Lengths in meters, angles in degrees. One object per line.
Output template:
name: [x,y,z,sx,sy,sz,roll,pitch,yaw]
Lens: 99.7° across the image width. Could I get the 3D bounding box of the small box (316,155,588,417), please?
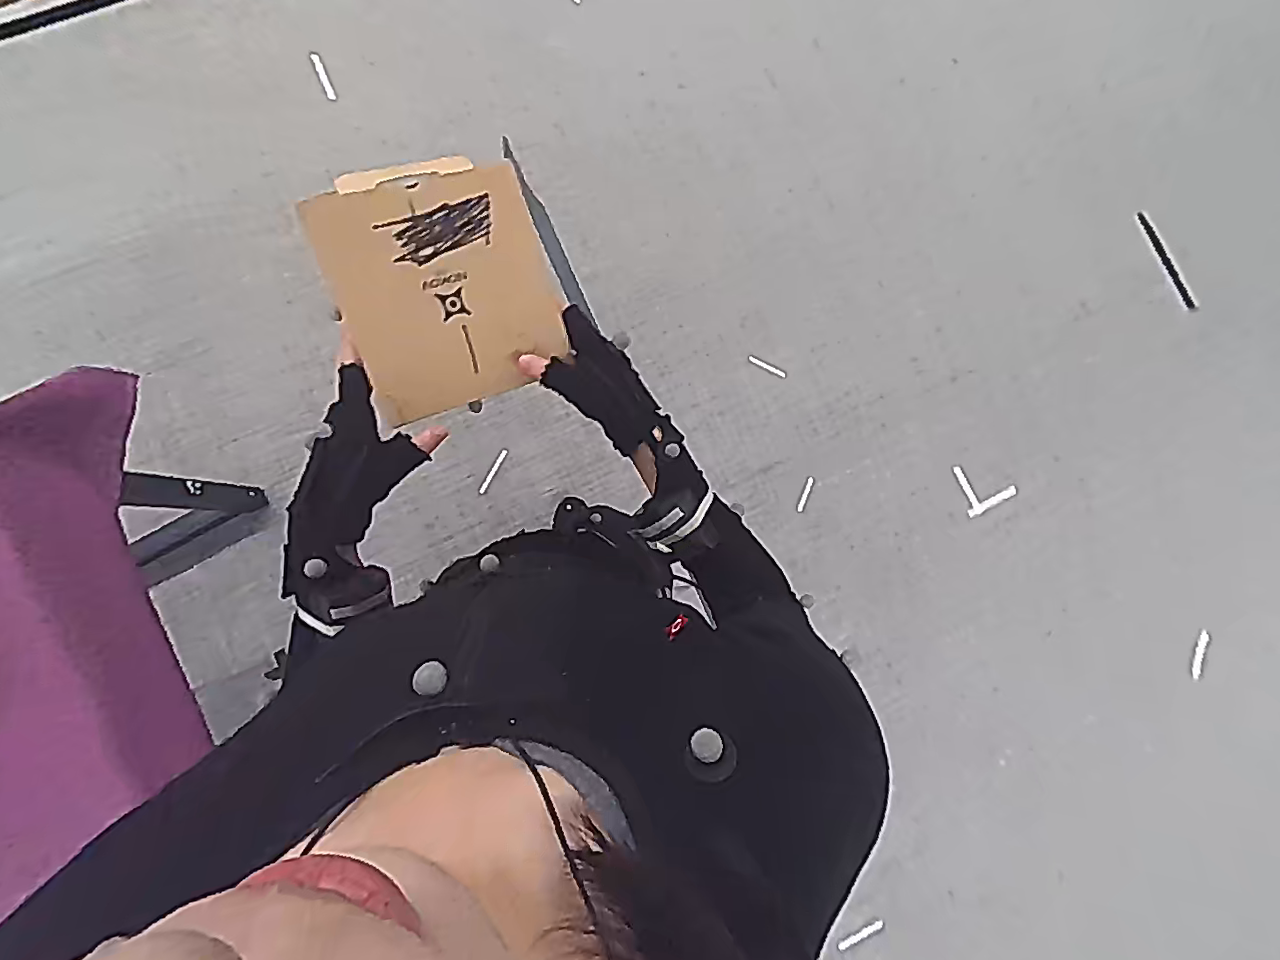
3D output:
small box: [-0.168,-0.166,0.505,0.168,0.176,0.179,-21,106,-16]
